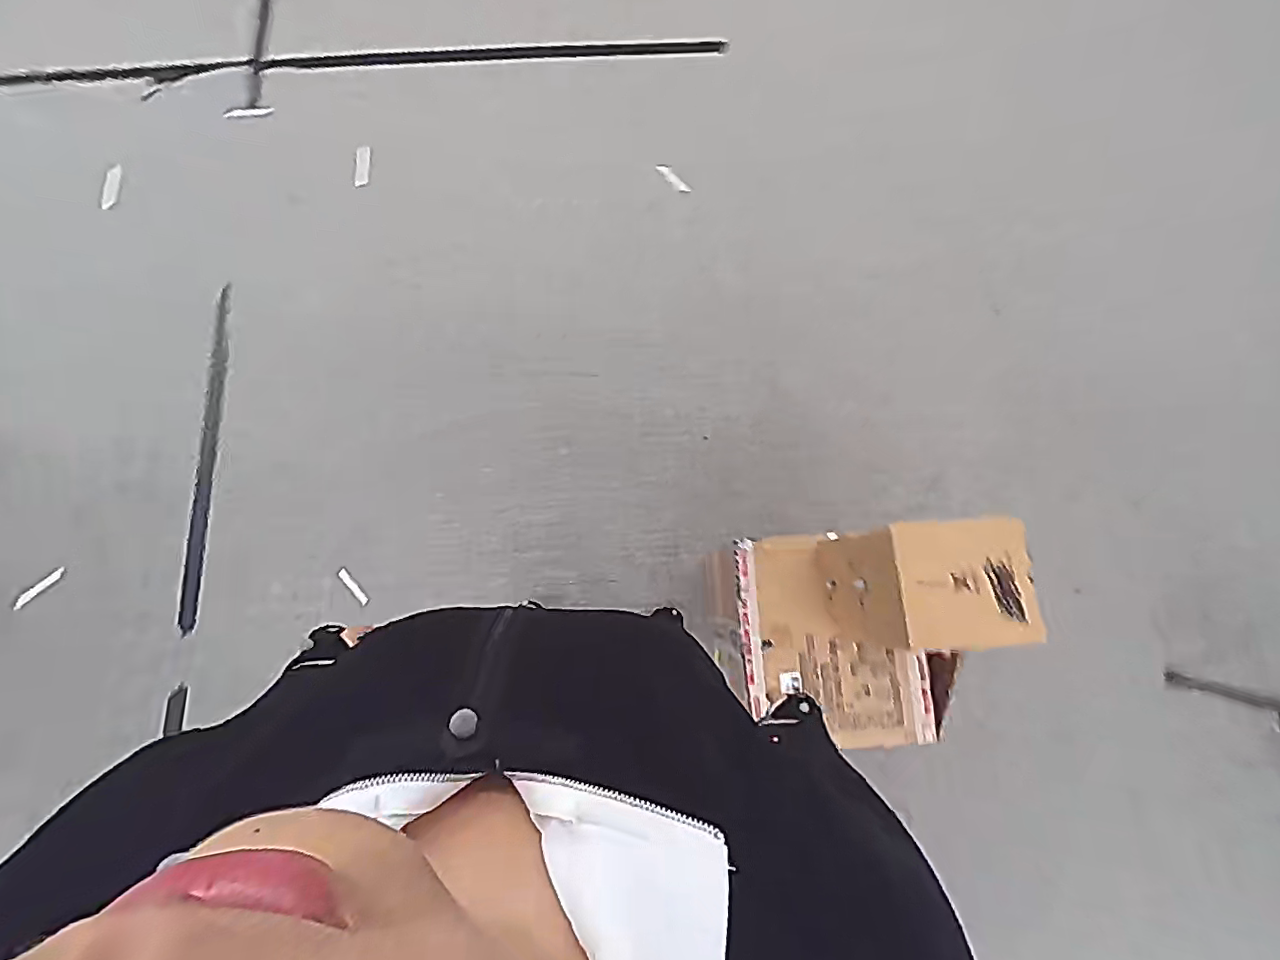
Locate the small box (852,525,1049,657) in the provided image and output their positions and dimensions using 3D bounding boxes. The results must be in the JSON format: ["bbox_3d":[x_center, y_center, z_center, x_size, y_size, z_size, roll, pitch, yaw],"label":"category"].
[{"bbox_3d":[0.428,0.158,0.775,0.179,0.176,0.168,-3,76,2],"label":"small box"}]

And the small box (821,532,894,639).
[{"bbox_3d":[0.437,0.180,0.938,0.179,0.176,0.168,-6,76,1],"label":"small box"}]
